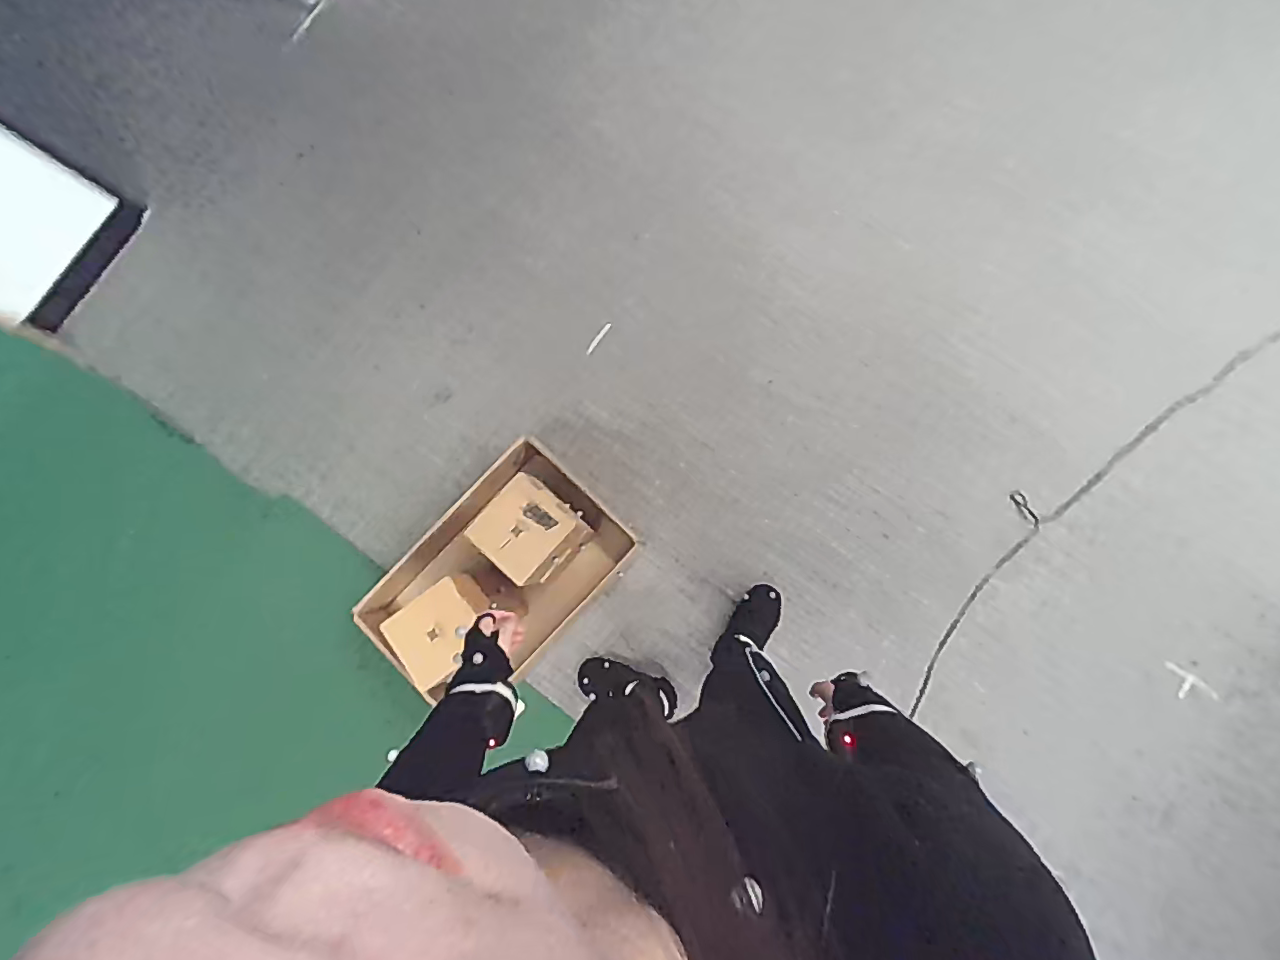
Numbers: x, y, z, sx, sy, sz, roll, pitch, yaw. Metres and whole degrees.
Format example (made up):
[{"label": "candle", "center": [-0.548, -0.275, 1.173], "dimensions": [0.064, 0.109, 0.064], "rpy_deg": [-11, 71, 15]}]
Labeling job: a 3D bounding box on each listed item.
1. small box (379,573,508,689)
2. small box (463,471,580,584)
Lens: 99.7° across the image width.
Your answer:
[{"label": "small box", "center": [-0.416, 0.320, 1.176], "dimensions": [0.179, 0.176, 0.168], "rpy_deg": [-36, 82, -4]}, {"label": "small box", "center": [-0.248, 0.104, 1.192], "dimensions": [0.168, 0.176, 0.179], "rpy_deg": [42, 89, 6]}]
